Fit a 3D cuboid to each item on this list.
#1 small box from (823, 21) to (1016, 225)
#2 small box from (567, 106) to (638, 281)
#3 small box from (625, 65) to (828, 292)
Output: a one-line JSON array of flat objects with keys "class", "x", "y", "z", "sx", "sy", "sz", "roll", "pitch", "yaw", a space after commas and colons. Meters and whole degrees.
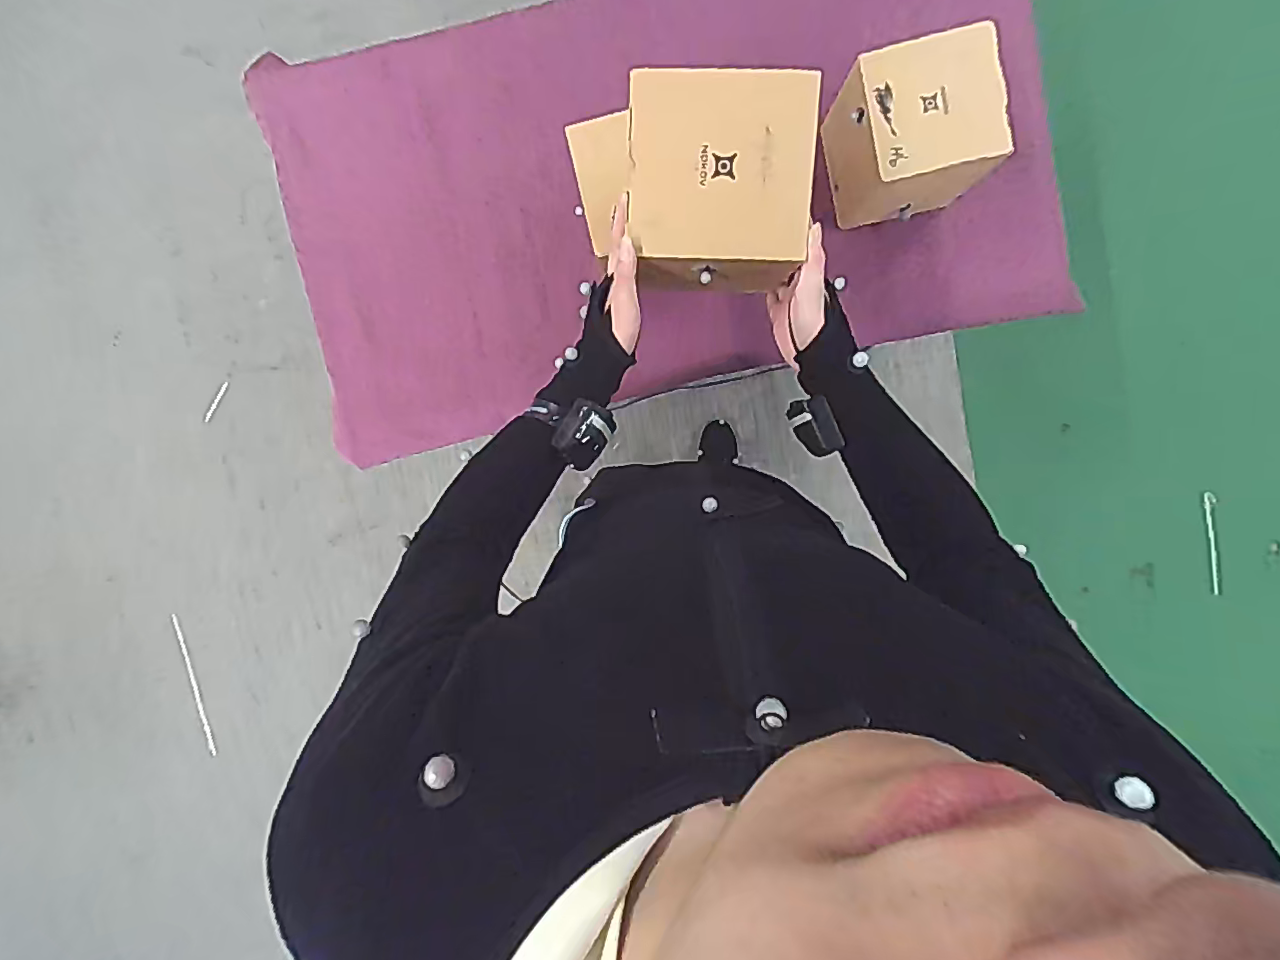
[{"class": "small box", "x": 0.385, "y": -0.492, "z": 0.772, "sx": 0.179, "sy": 0.176, "sz": 0.168, "roll": -12, "pitch": 94, "yaw": 2}, {"class": "small box", "x": 0.004, "y": -0.406, "z": 0.787, "sx": 0.168, "sy": 0.176, "sz": 0.179, "roll": -14, "pitch": 93, "yaw": 2}, {"class": "small box", "x": 0.081, "y": -0.301, "z": 0.576, "sx": 0.179, "sy": 0.176, "sz": 0.168, "roll": 3, "pitch": 100, "yaw": 2}]
